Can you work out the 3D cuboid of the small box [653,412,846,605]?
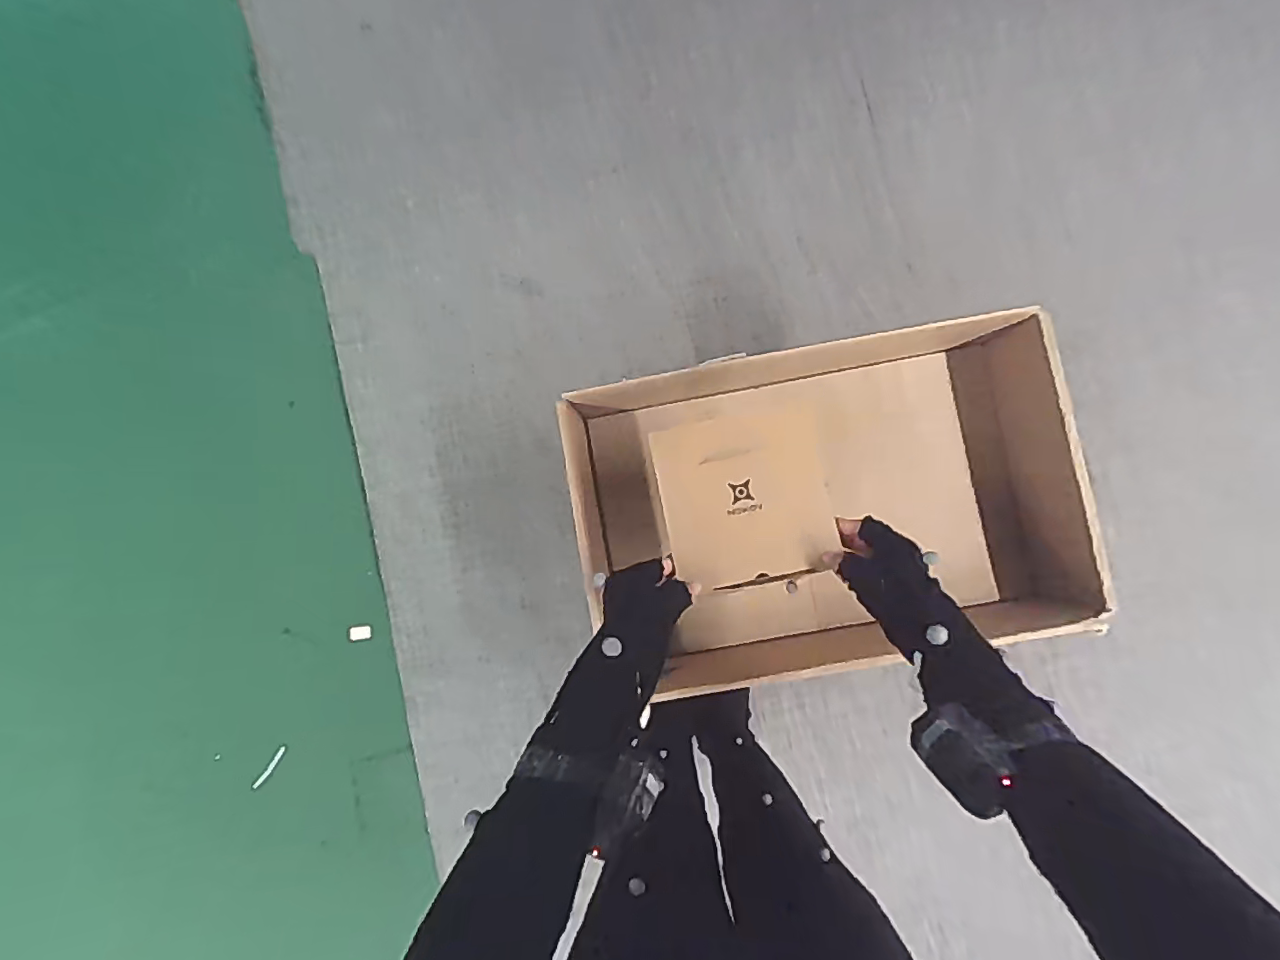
[{"bbox_3d":[0.118,0.045,0.629,0.168,0.176,0.179,-12,74,3],"label":"small box"}]
